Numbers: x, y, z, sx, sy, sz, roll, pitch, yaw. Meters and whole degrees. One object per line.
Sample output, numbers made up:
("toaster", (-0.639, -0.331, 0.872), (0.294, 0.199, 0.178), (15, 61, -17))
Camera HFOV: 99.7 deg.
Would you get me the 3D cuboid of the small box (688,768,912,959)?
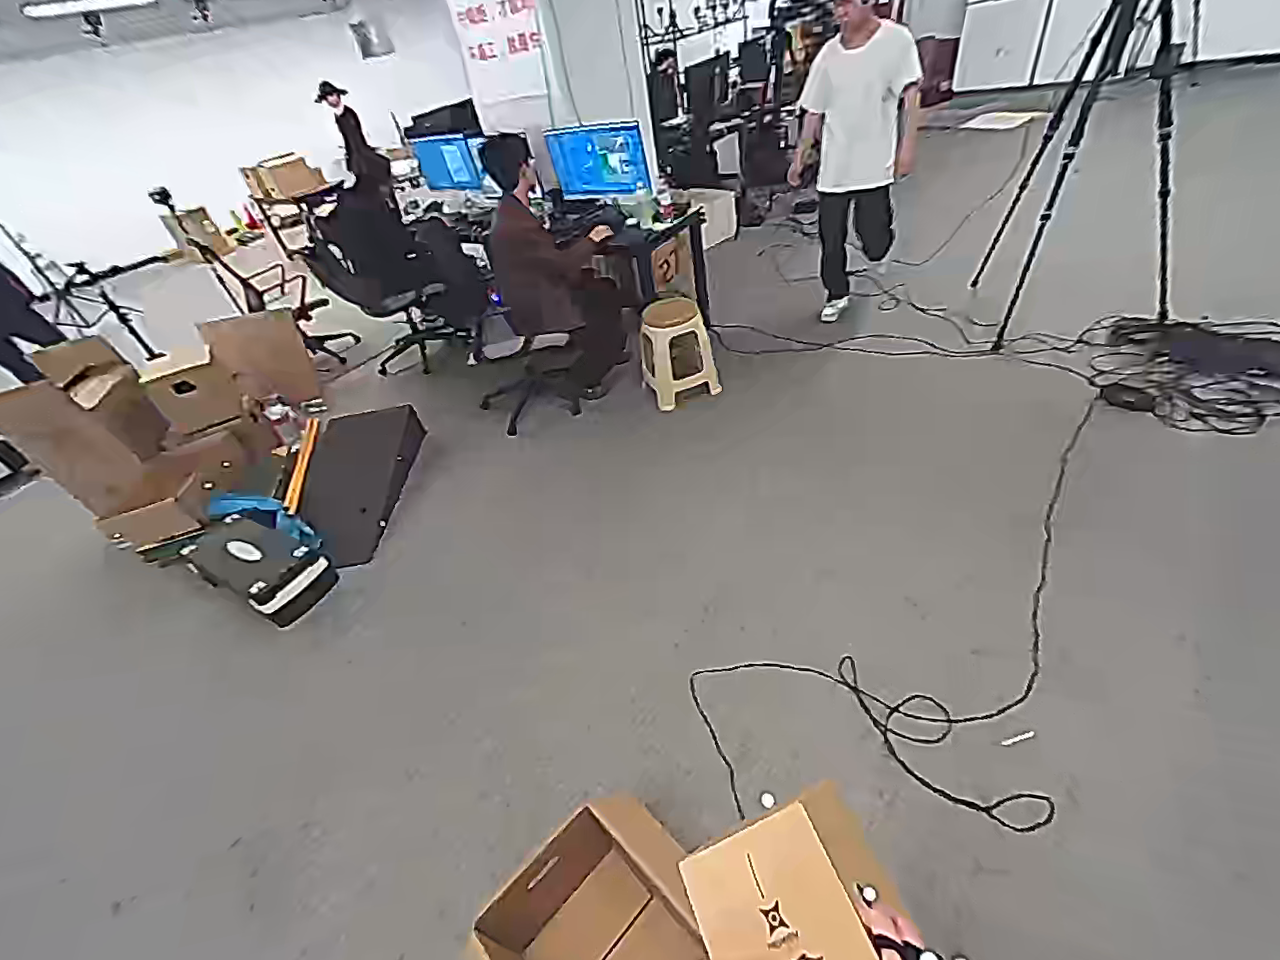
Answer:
("small box", (0.188, 0.462, 0.625), (0.168, 0.176, 0.179), (-35, 58, 15))
